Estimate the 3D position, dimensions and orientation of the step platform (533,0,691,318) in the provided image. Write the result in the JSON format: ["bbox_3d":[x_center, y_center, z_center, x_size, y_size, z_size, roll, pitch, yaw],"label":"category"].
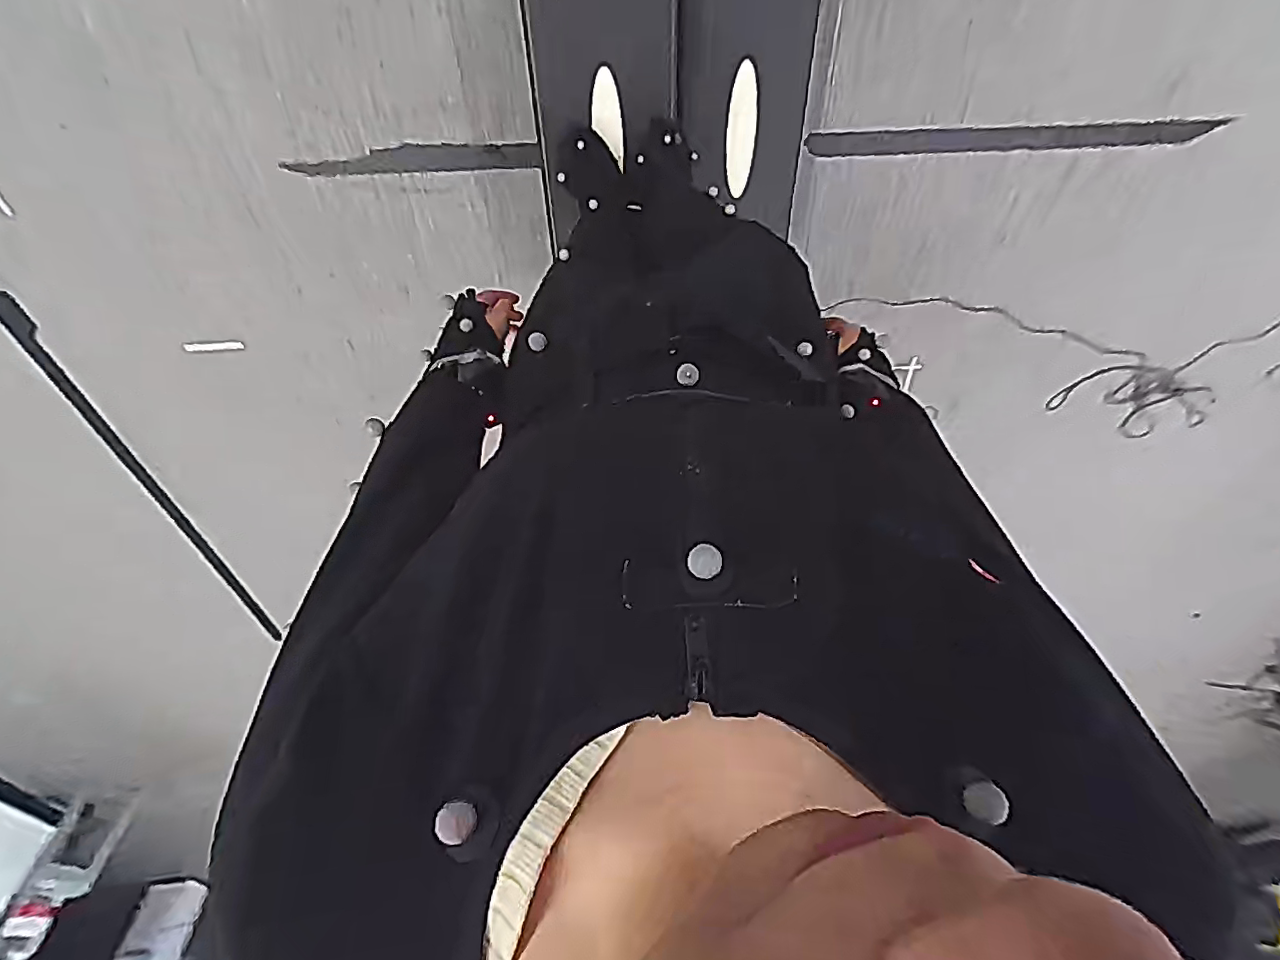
[{"bbox_3d":[-0.064,-0.695,1.143,0.286,0.204,0.684,-1,127,-5],"label":"step platform"}]
